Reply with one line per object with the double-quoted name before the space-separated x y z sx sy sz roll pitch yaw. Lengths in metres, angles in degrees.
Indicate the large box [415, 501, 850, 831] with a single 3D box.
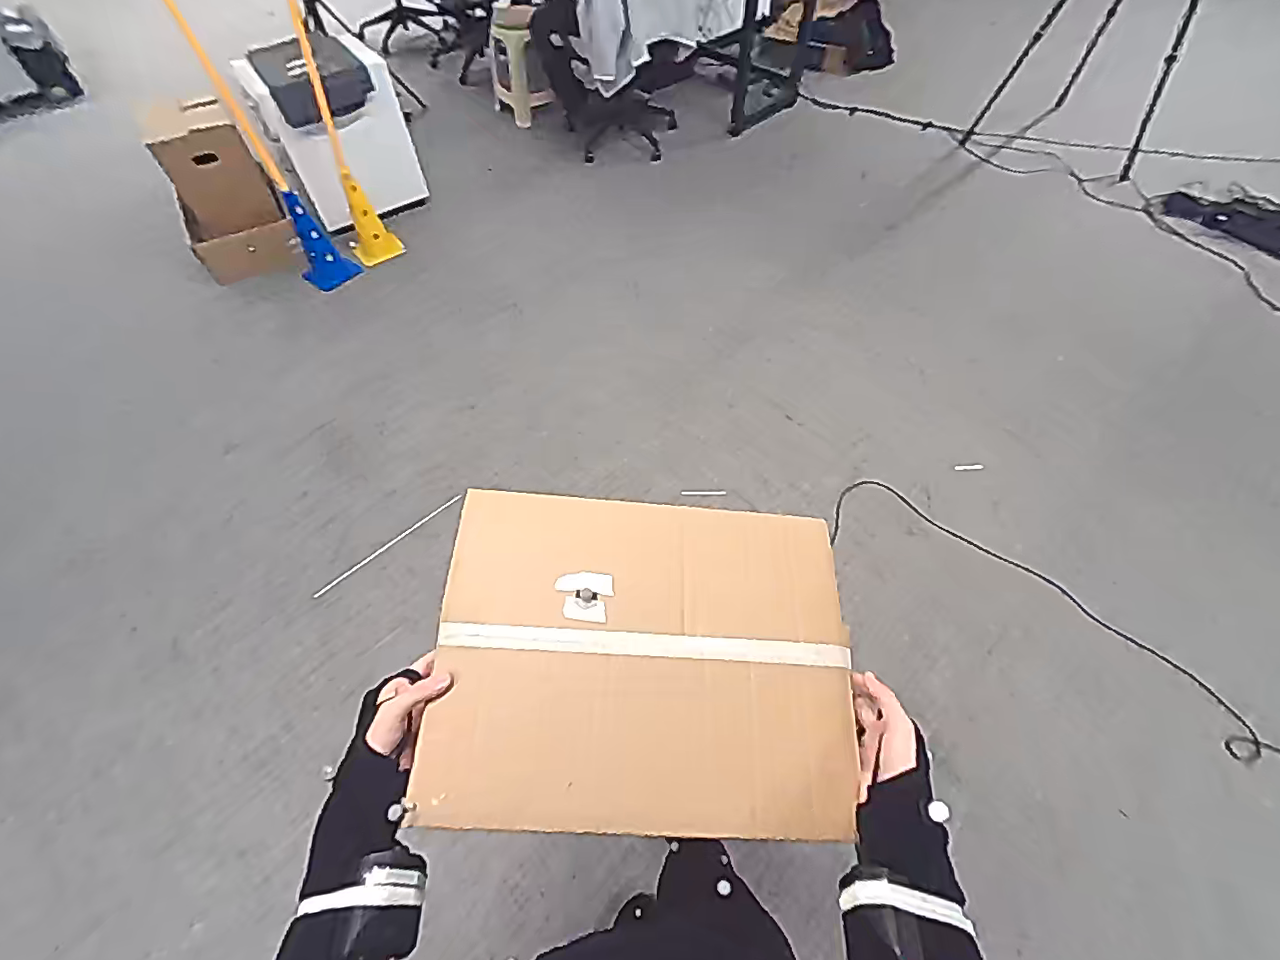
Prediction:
"large box" -0.009 0.237 0.685 0.408 0.320 0.320 5 62 -4
